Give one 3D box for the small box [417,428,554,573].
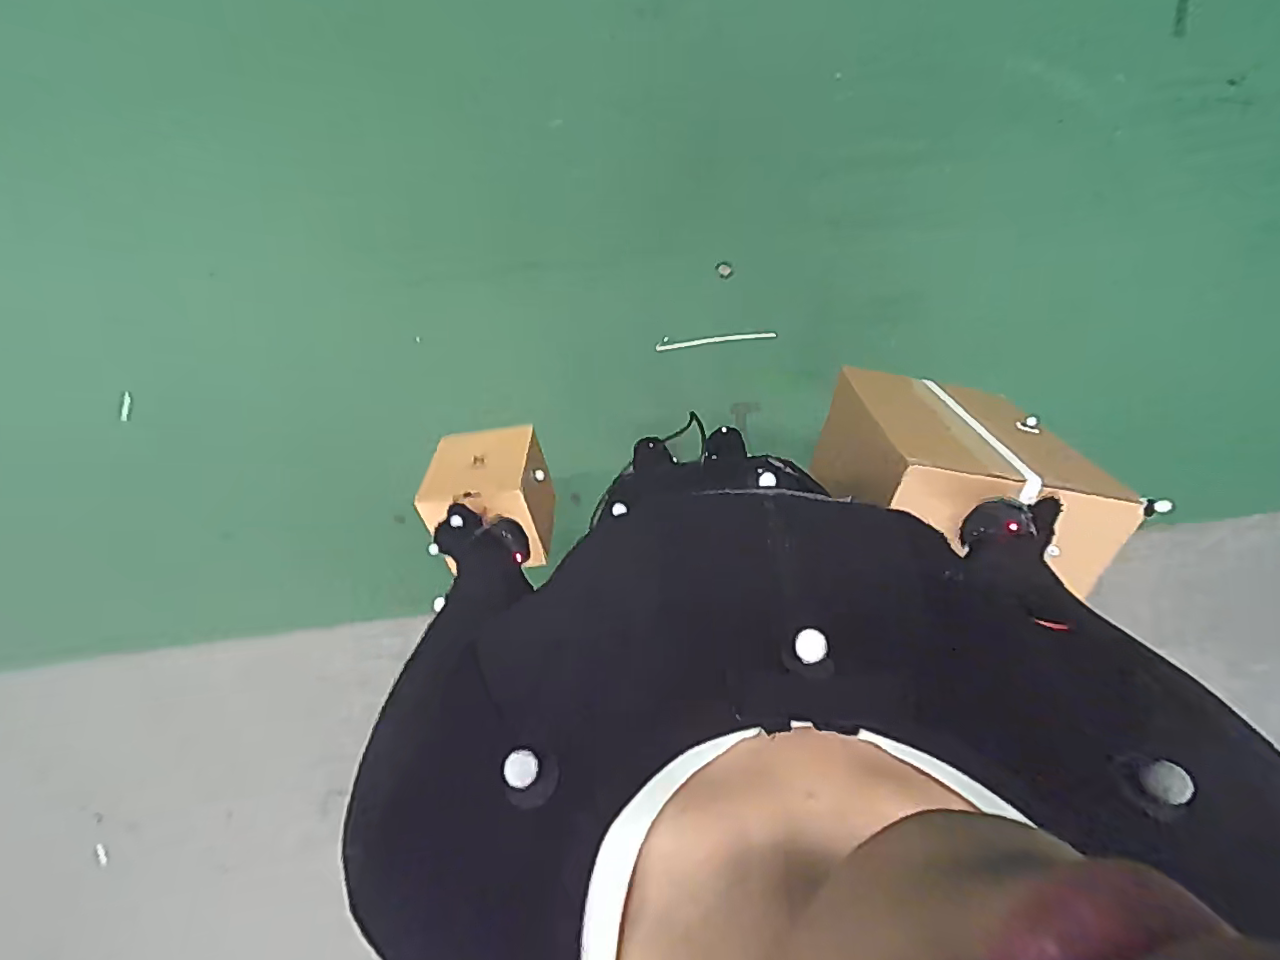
[{"bbox_3d":[-0.250,0.034,0.929,0.168,0.179,0.176,-8,129,3],"label":"small box"}]
